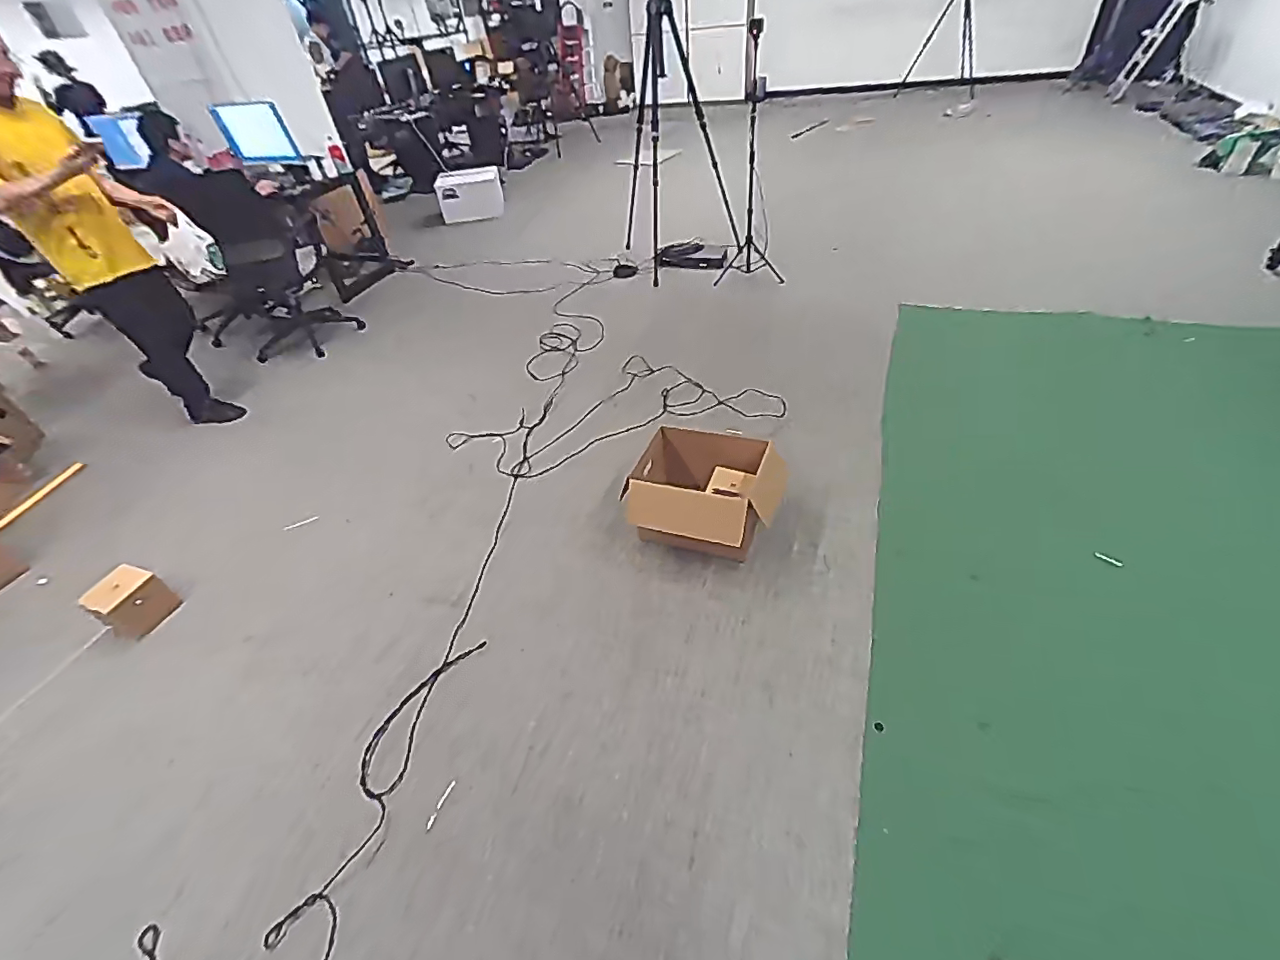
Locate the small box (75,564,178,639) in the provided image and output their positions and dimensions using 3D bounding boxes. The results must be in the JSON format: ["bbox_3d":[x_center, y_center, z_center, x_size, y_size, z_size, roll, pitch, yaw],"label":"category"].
[{"bbox_3d":[-1.783,0.427,1.897,0.168,0.176,0.179,9,46,17],"label":"small box"}]
